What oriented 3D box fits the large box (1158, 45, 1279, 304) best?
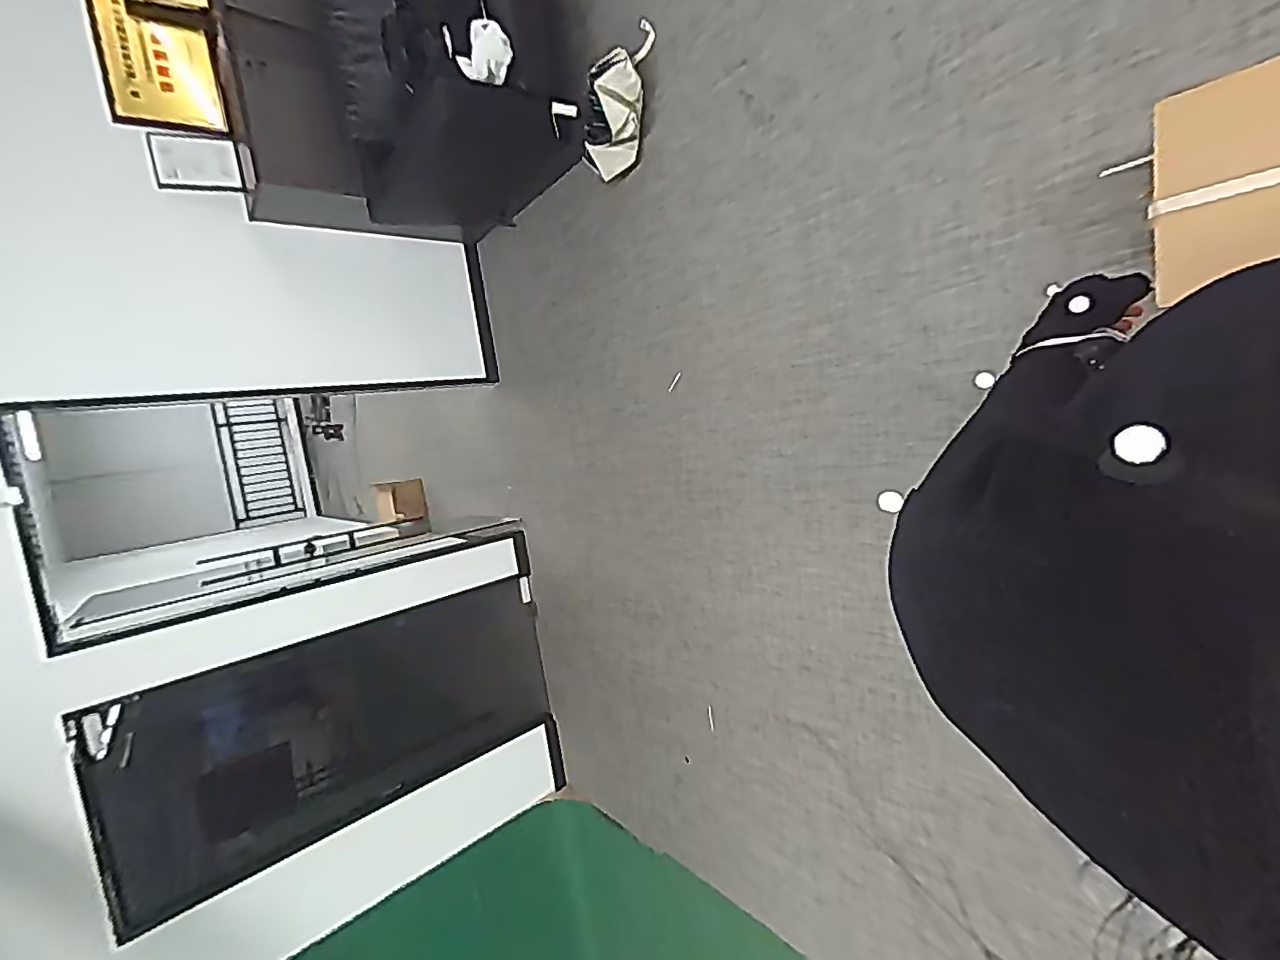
[{"bbox_3d":[1.053,-0.464,0.786,0.408,0.320,0.320,1,101,50],"label":"large box"}]
